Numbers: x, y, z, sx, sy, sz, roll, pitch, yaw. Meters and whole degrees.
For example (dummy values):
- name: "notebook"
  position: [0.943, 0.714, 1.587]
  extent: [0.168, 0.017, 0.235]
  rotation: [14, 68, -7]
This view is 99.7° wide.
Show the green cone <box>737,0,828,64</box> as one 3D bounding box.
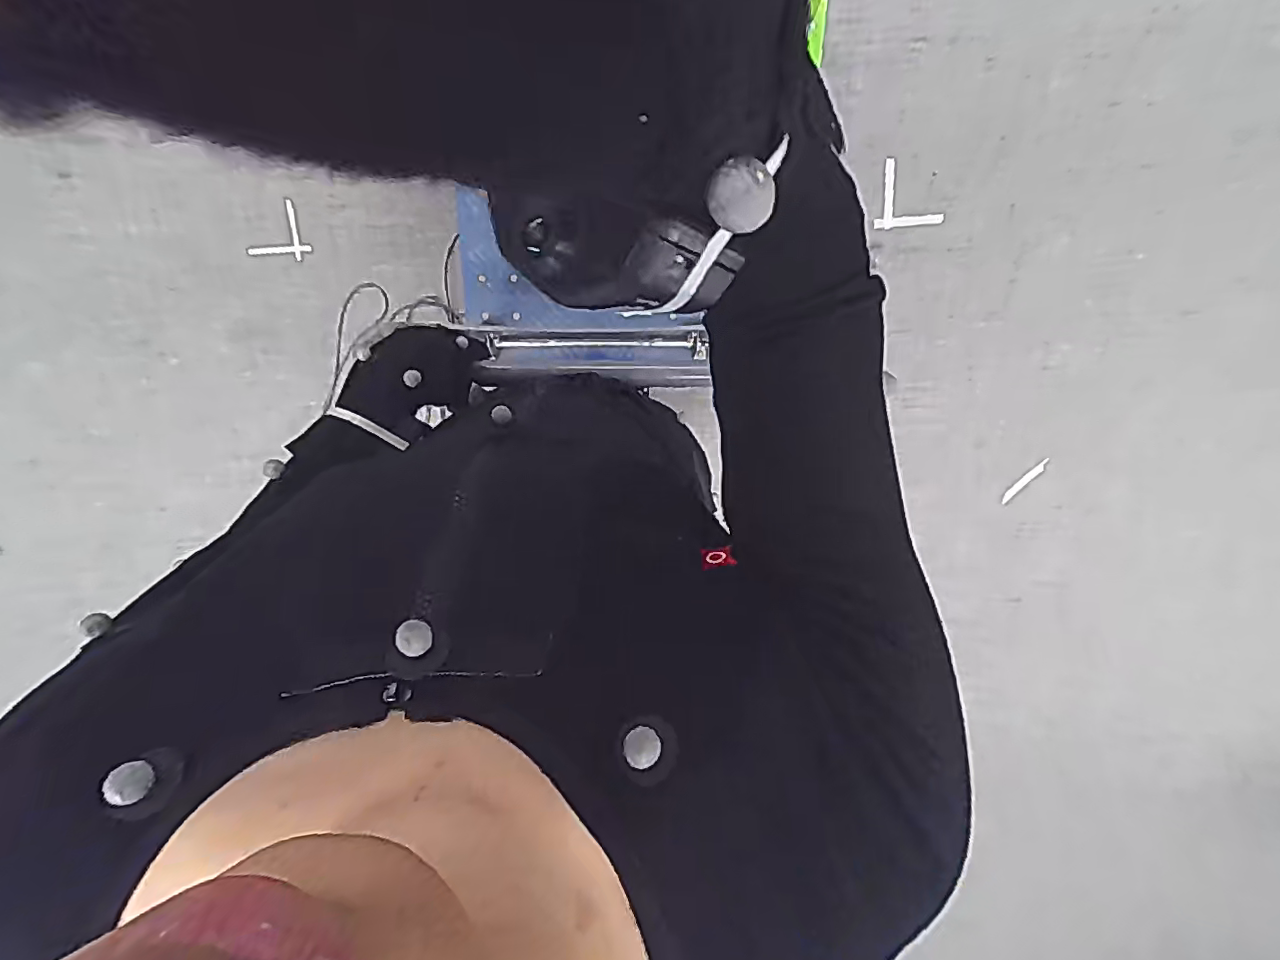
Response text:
- name: "green cone"
  position: [0.331, -1.017, 1.054]
  extent: [0.202, 0.368, 0.200]
  rotation: [1, 105, -3]
